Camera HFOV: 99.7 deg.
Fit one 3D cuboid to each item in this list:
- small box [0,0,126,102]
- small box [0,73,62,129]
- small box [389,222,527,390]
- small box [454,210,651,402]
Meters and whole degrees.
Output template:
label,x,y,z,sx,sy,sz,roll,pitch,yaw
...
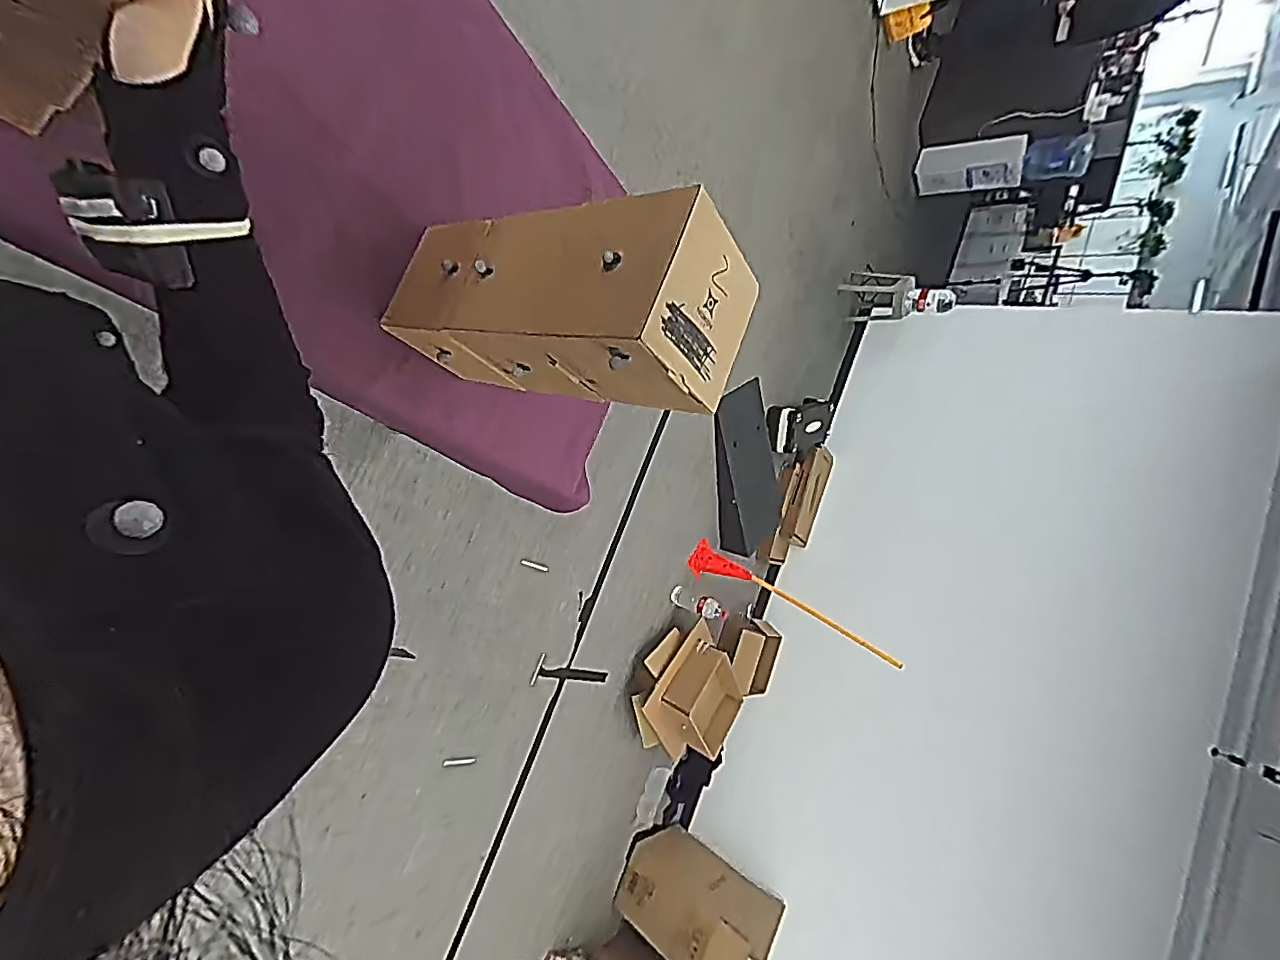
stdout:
label,x,y,z,sx,sy,sz,roll,pitch,yaw
small box,-0.395,-0.365,0.313,0.168,0.176,0.179,24,82,-55
small box,-0.521,-0.407,0.407,0.168,0.176,0.179,27,80,-54
small box,-0.249,-0.258,0.824,0.168,0.176,0.179,33,75,-52
small box,-0.120,-0.227,0.727,0.168,0.176,0.179,35,74,-52
